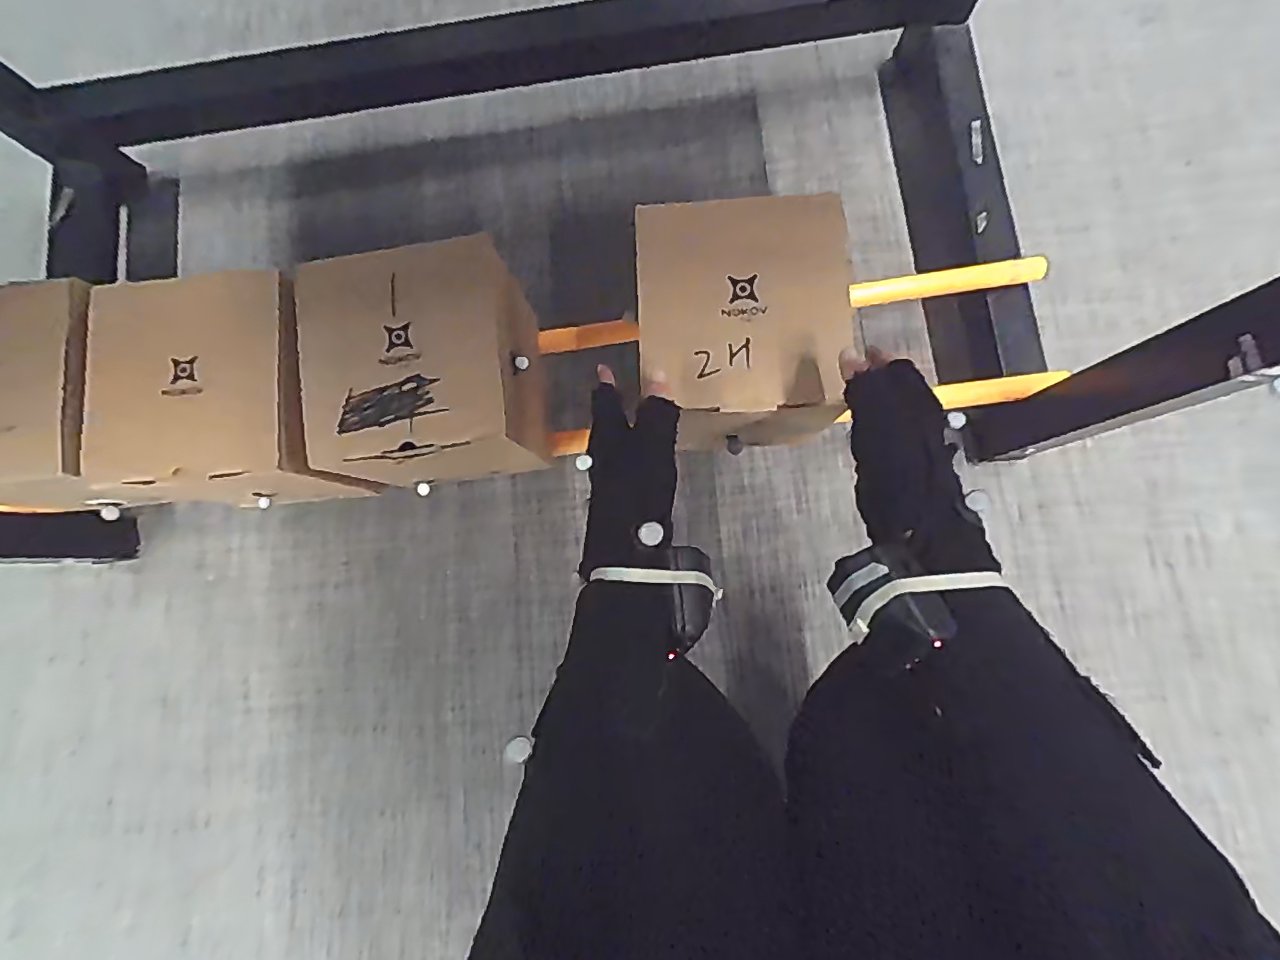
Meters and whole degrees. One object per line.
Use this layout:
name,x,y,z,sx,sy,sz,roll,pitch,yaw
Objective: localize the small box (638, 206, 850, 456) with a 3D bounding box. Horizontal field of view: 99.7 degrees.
small box,0.085,-0.124,0.509,0.168,0.176,0.179,-2,83,5
